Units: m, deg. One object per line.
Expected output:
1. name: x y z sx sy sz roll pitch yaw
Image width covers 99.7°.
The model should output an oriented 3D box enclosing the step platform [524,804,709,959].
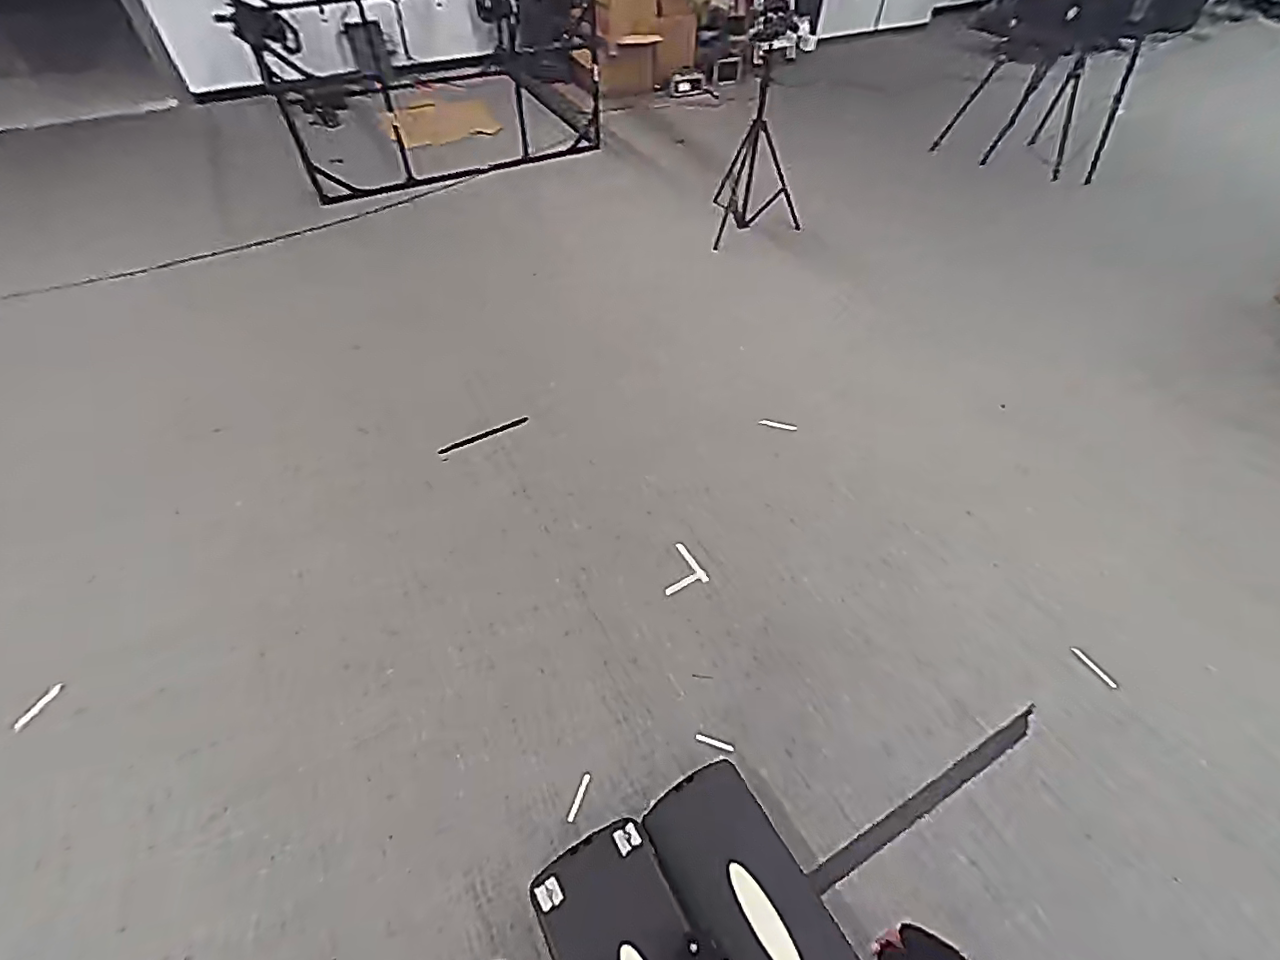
1. step platform: 0.011 1.079 1.135 0.286 0.204 0.684 -25 55 -20
